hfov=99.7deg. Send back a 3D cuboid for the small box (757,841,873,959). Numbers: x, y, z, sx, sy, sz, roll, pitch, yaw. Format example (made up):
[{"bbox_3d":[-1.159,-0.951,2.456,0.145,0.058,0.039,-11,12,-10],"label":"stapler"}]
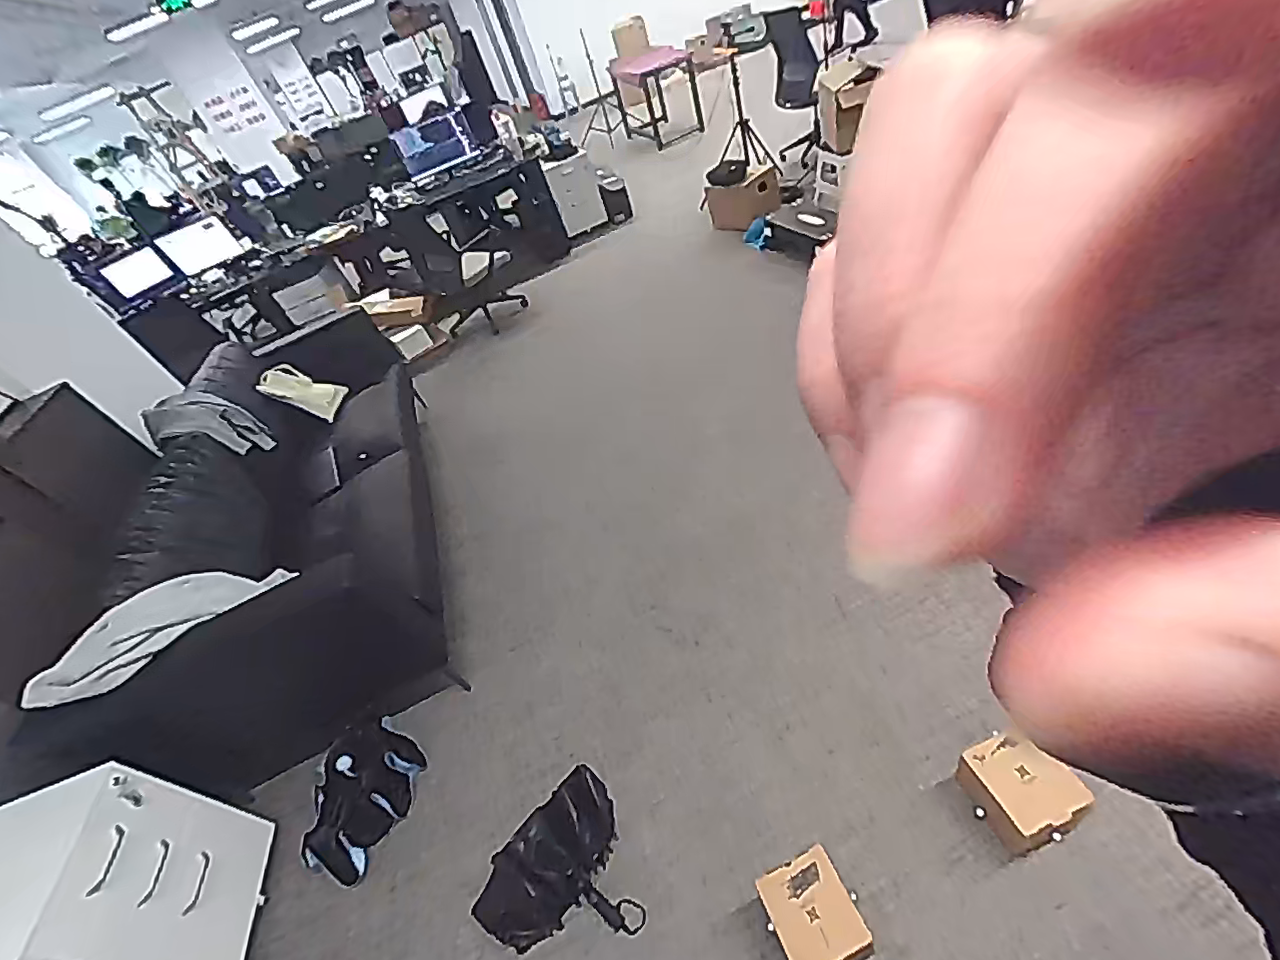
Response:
[{"bbox_3d":[0.372,0.919,1.155,0.168,0.176,0.179,-27,43,-3],"label":"small box"}]

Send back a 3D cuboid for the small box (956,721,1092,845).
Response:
[{"bbox_3d":[0.834,0.676,1.195,0.168,0.176,0.179,-25,42,-1],"label":"small box"}]
